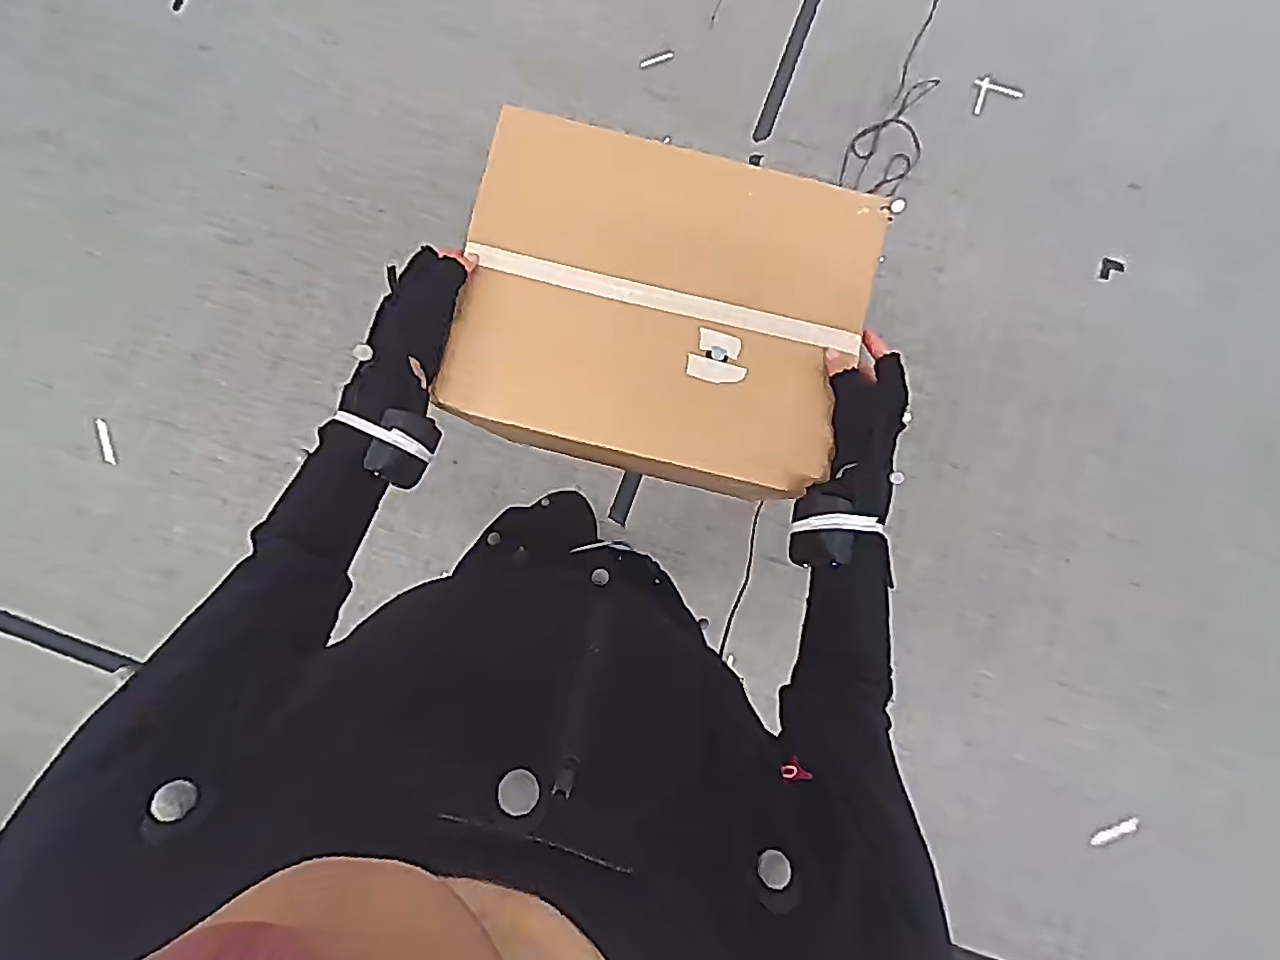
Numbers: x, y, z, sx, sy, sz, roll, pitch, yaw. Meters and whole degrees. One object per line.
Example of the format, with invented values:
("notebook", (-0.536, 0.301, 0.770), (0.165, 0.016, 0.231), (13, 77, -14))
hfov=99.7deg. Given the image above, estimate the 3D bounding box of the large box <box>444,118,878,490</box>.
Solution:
("large box", (0.020, -0.181, 0.705), (0.408, 0.320, 0.320), (14, 89, -1))
